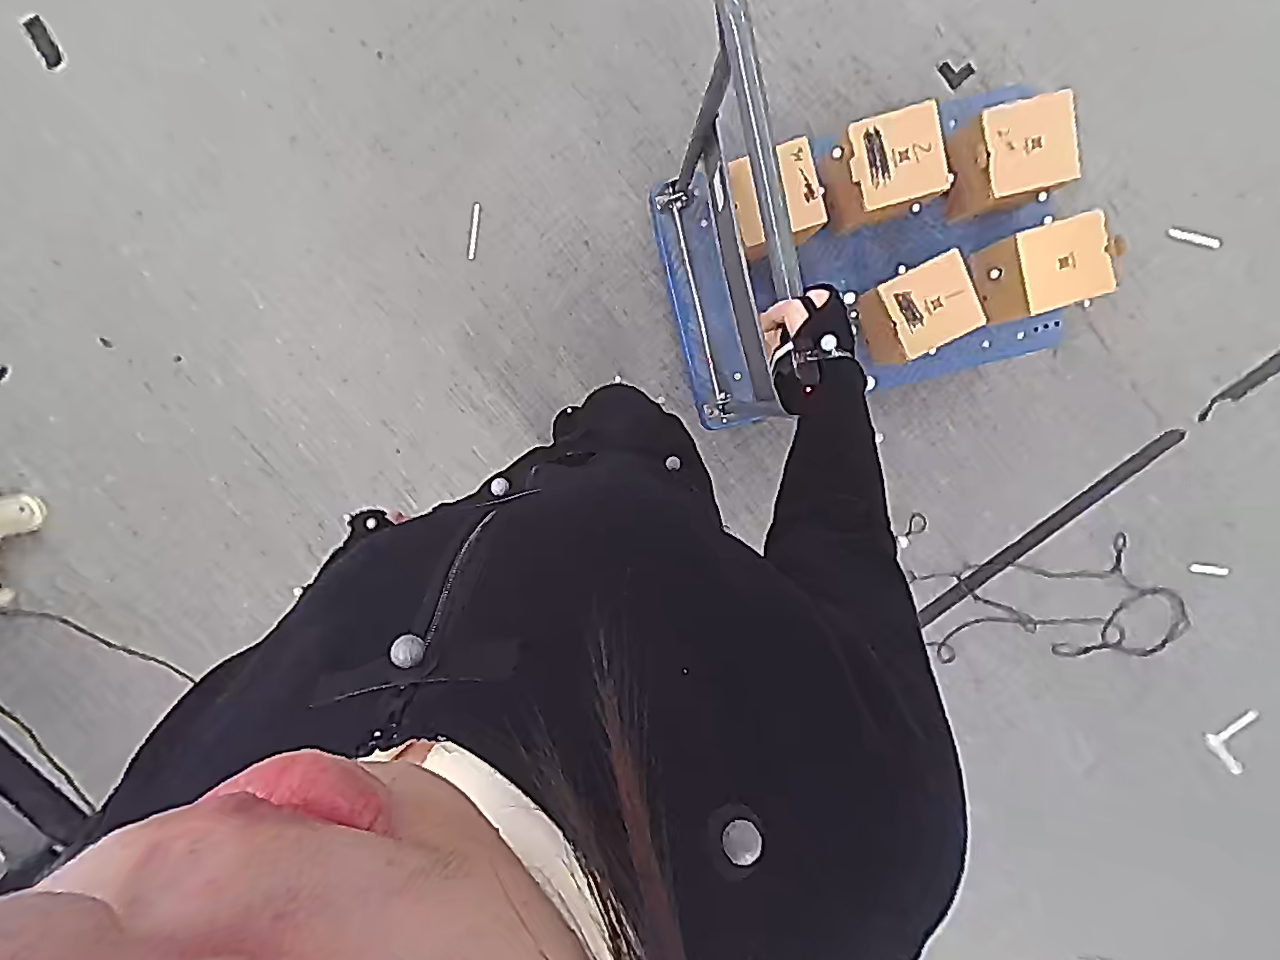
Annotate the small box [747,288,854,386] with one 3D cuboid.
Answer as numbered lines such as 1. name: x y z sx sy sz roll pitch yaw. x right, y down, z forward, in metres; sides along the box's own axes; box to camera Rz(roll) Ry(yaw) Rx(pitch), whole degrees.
1. small box: 0.341 -0.305 1.187 0.179 0.176 0.168 -14 99 1

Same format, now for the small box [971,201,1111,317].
1. small box: 0.847 -0.463 1.164 0.179 0.176 0.168 -17 98 2

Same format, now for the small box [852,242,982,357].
1. small box: 0.587 -0.381 1.175 0.179 0.176 0.168 -26 98 3

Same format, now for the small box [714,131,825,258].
1. small box: 0.262 -0.589 1.142 0.179 0.176 0.168 -17 99 3

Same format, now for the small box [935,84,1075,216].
1. small box: 0.754 -0.677 1.129 0.179 0.176 0.168 -12 98 2
